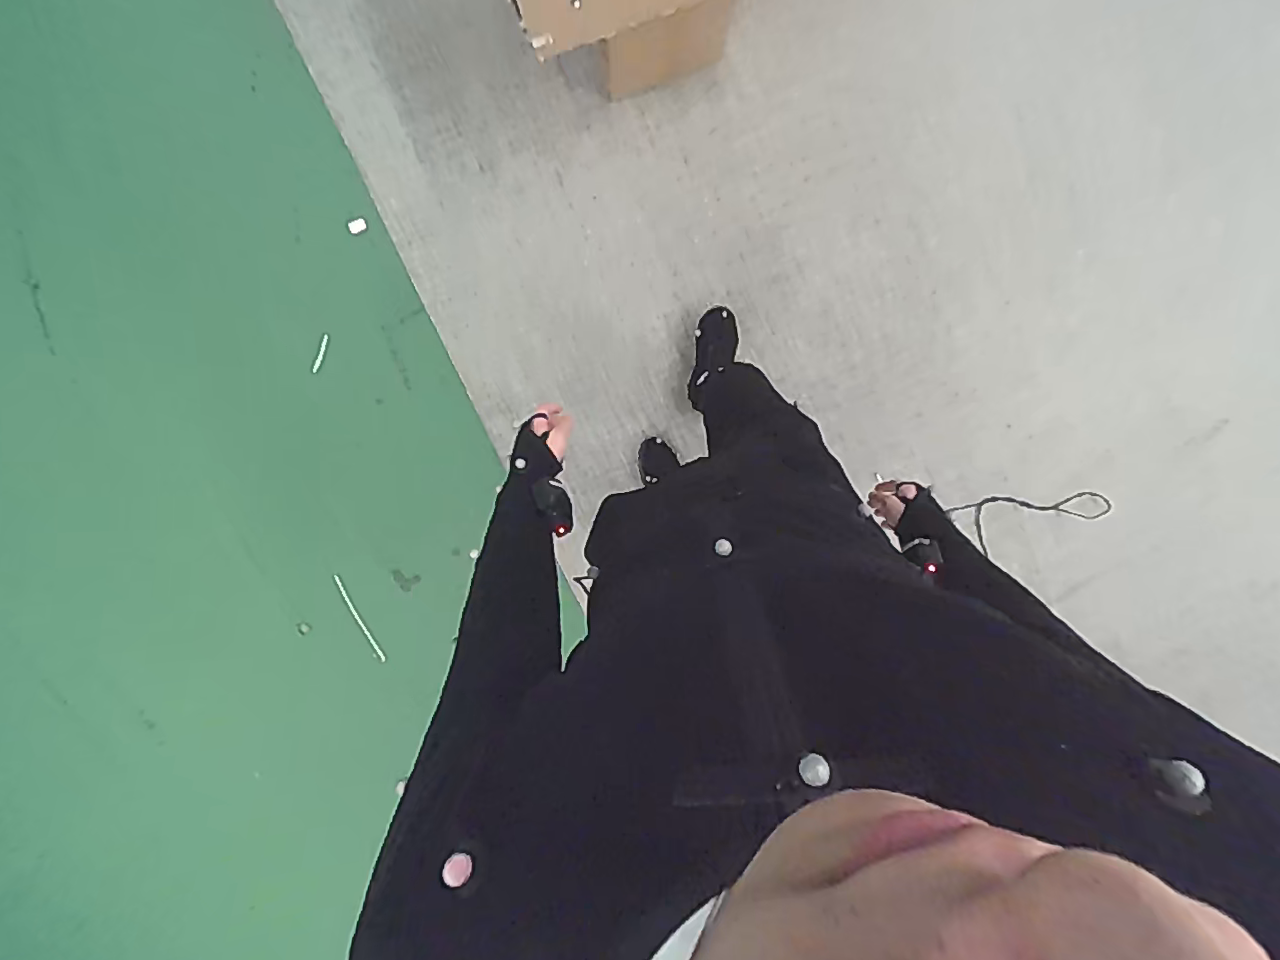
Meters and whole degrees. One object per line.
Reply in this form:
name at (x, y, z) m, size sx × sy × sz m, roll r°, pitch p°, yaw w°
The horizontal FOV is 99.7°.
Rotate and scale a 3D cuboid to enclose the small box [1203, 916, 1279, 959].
small box at (1.156, 0.911, 0.945) m, size 0.168 × 0.176 × 0.179 m, roll -25°, pitch 101°, yaw 7°
